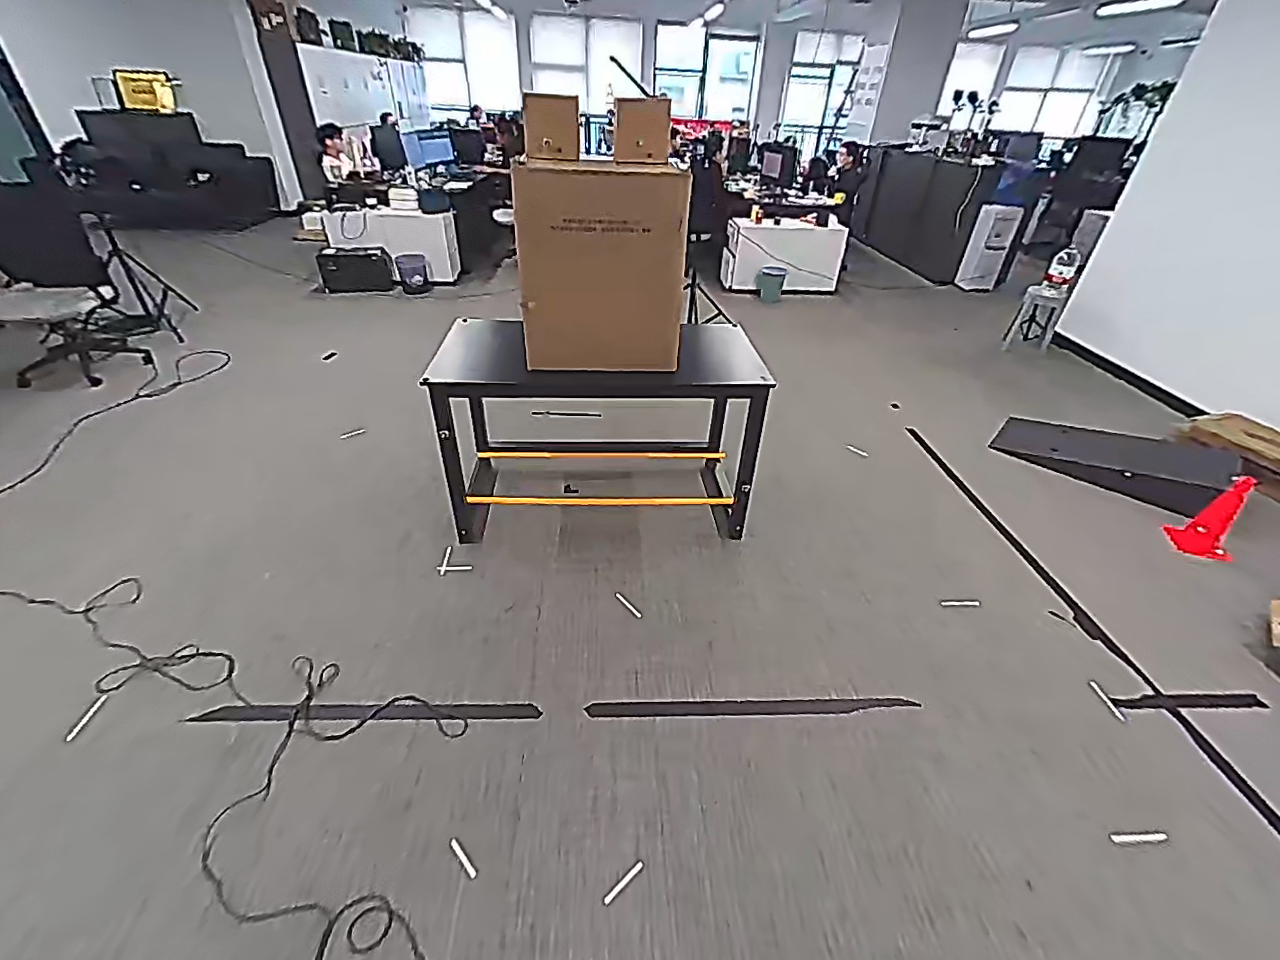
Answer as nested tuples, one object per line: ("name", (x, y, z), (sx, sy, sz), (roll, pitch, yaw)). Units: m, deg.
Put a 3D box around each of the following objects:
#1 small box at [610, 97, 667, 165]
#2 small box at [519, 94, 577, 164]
("small box", (-0.011, -1.095, 1.696), (0.168, 0.176, 0.179), (-3, 35, -5))
("small box", (-0.283, -1.094, 1.685), (0.168, 0.176, 0.179), (-2, 36, -6))
